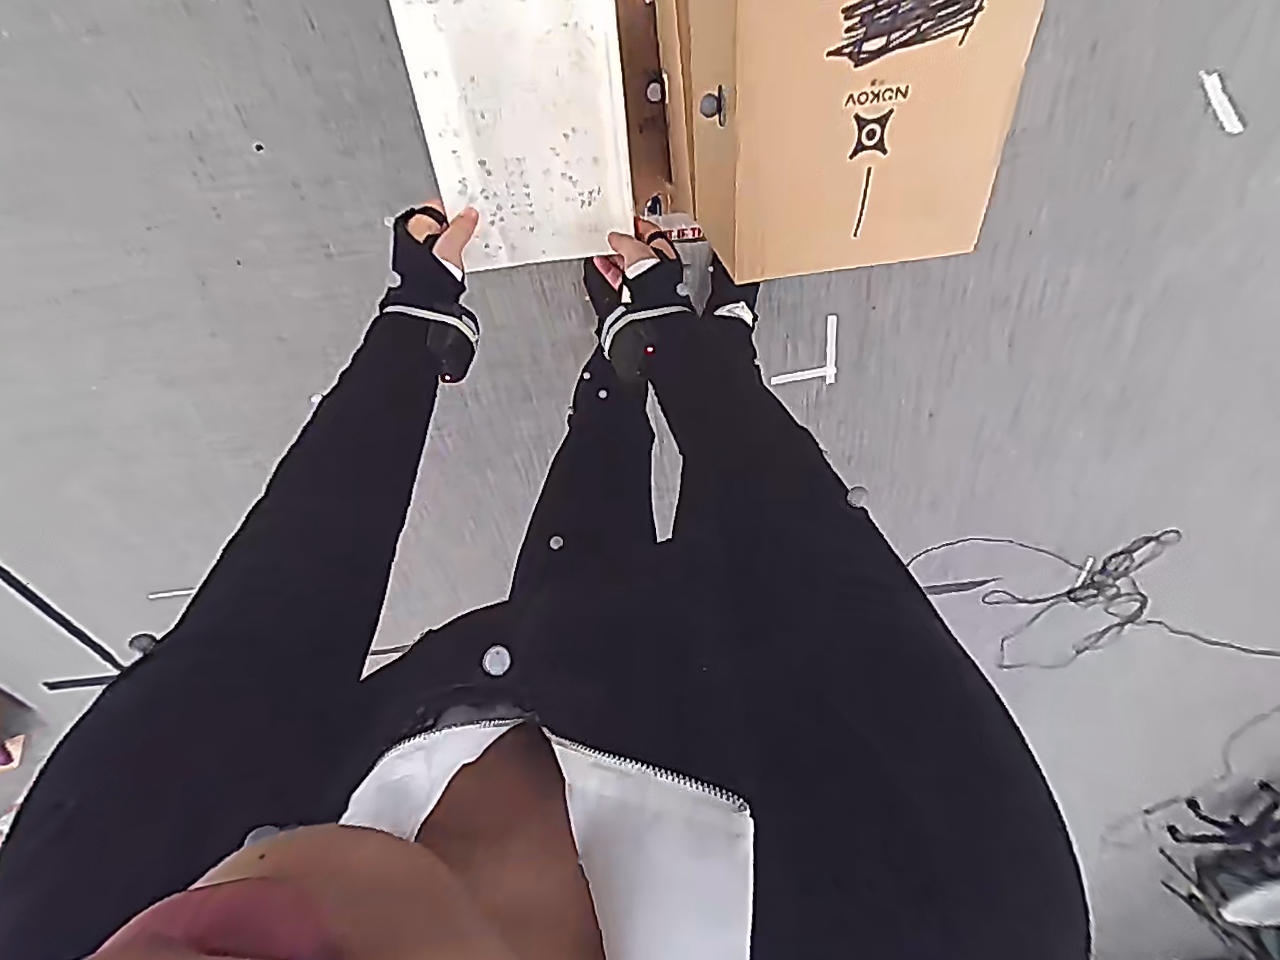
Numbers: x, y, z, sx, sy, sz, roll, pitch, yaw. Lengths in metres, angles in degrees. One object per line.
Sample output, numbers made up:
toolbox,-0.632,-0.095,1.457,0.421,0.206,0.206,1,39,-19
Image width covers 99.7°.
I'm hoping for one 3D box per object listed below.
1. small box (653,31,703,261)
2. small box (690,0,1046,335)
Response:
small box,0.114,-0.331,0.519,0.179,0.176,0.168,-9,129,2
small box,0.130,-0.228,0.391,0.168,0.176,0.179,-7,130,0
